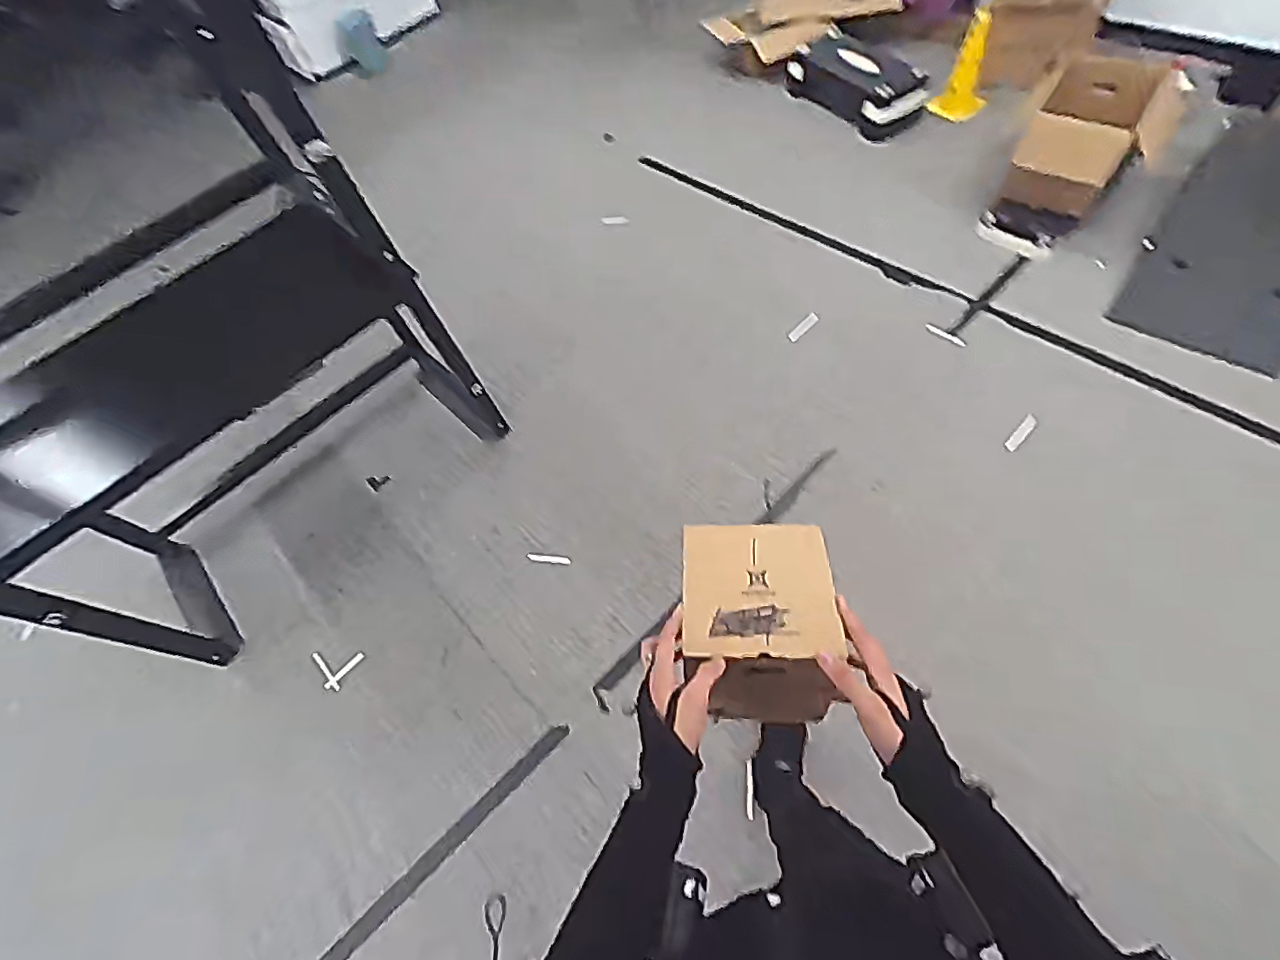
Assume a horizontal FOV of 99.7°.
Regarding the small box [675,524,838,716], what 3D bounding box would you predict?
[{"bbox_3d":[0.130,0.173,0.659,0.168,0.176,0.179,-1,47,5],"label":"small box"}]
